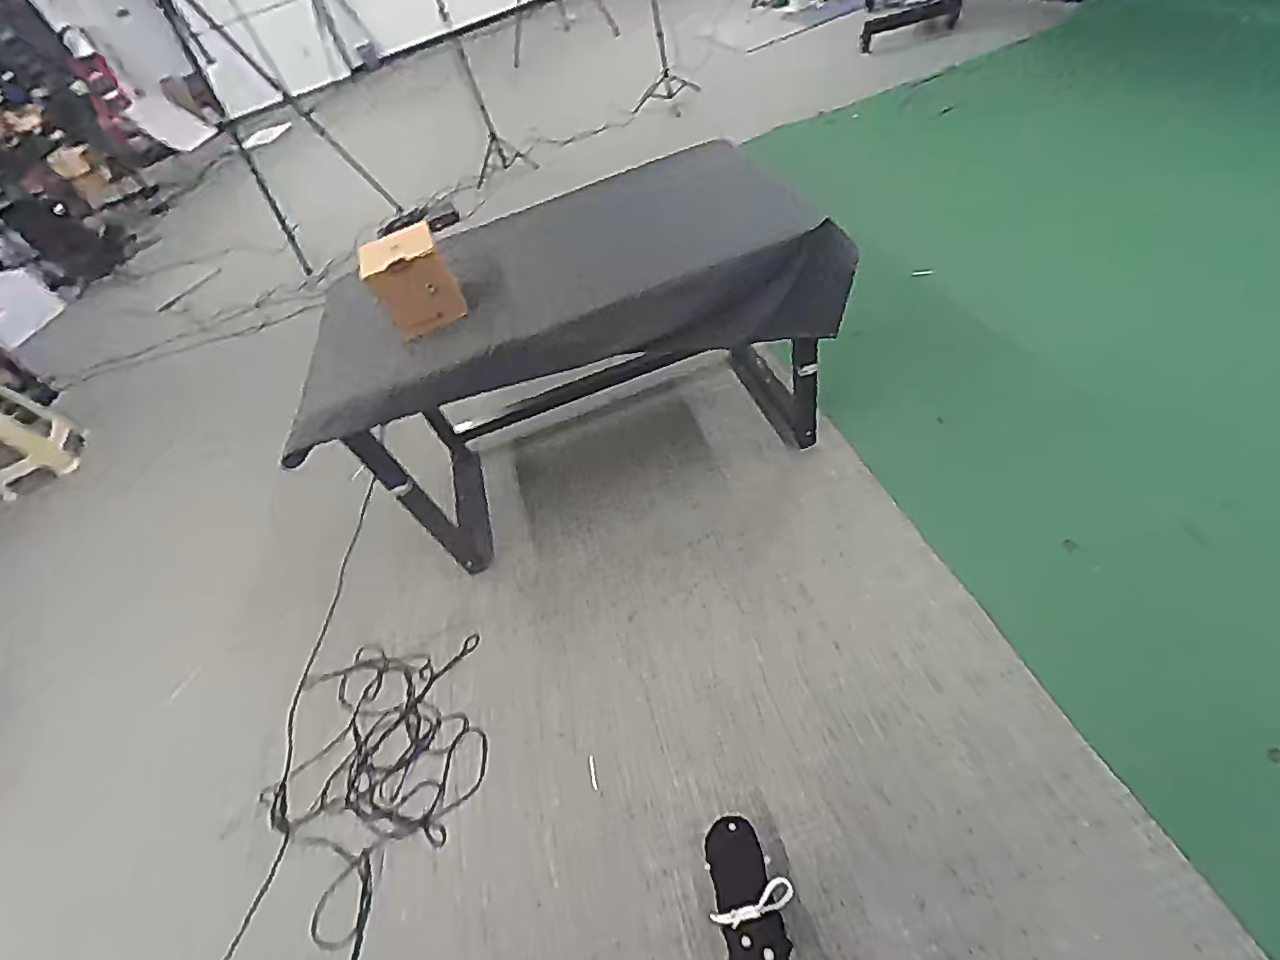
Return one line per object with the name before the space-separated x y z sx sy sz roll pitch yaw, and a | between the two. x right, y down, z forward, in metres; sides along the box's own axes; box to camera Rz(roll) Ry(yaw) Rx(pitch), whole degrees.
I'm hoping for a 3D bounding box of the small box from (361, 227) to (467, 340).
small box | -0.520 -0.448 1.253 0.168 0.176 0.179 -25 47 -6
